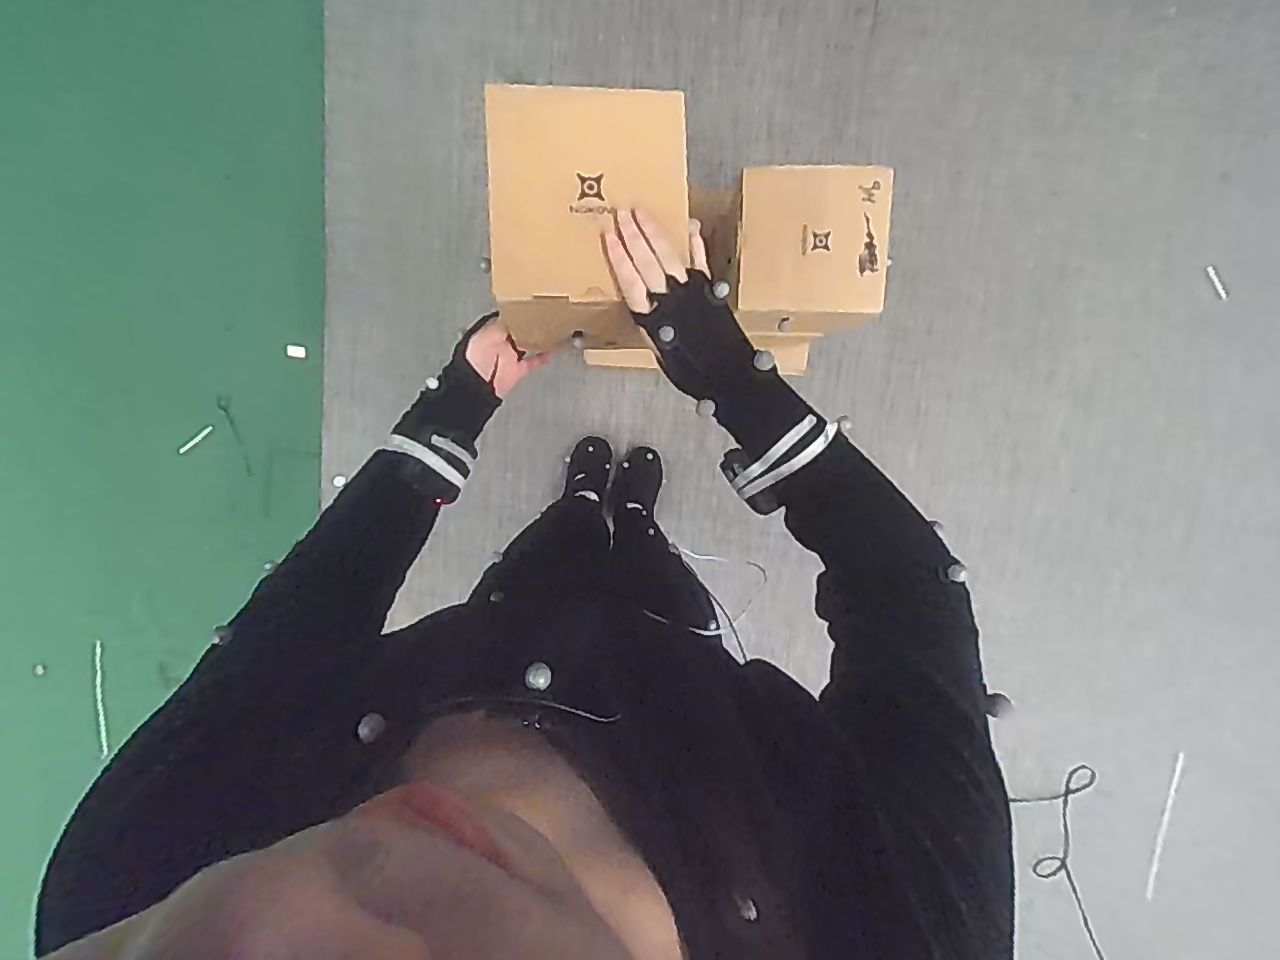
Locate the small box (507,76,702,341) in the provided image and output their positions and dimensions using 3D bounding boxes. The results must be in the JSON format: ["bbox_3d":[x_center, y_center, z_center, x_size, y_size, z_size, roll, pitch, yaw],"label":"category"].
[{"bbox_3d":[-0.040,-0.247,0.533,0.168,0.176,0.179,-2,90,-7],"label":"small box"}]
